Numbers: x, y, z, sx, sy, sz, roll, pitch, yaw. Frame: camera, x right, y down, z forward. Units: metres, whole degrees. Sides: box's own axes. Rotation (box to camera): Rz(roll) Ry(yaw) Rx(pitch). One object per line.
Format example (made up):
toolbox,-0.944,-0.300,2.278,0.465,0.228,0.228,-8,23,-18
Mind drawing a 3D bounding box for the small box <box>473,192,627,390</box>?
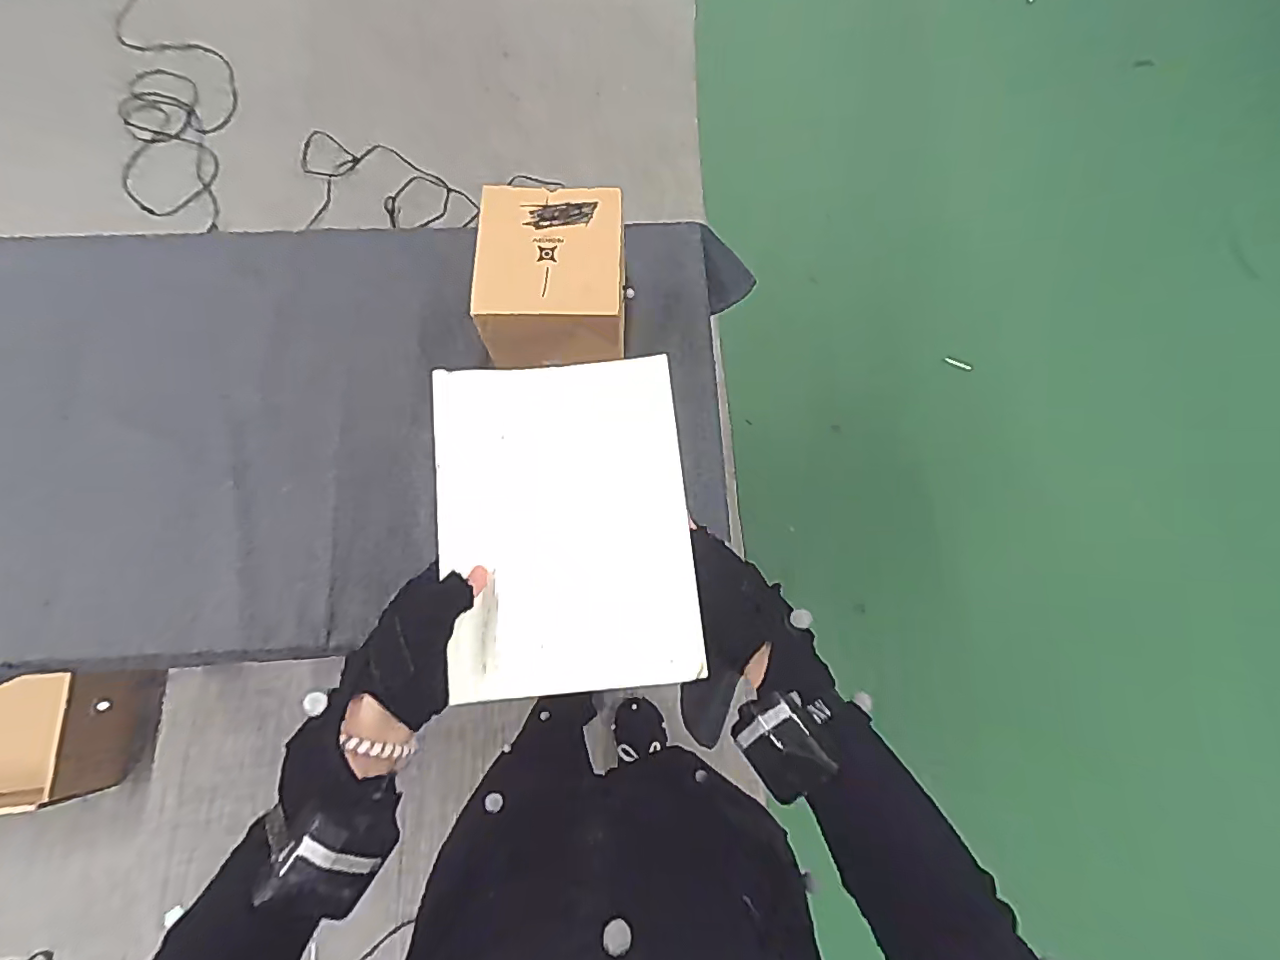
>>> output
small box,-0.102,-0.235,0.695,0.168,0.176,0.179,1,73,0
